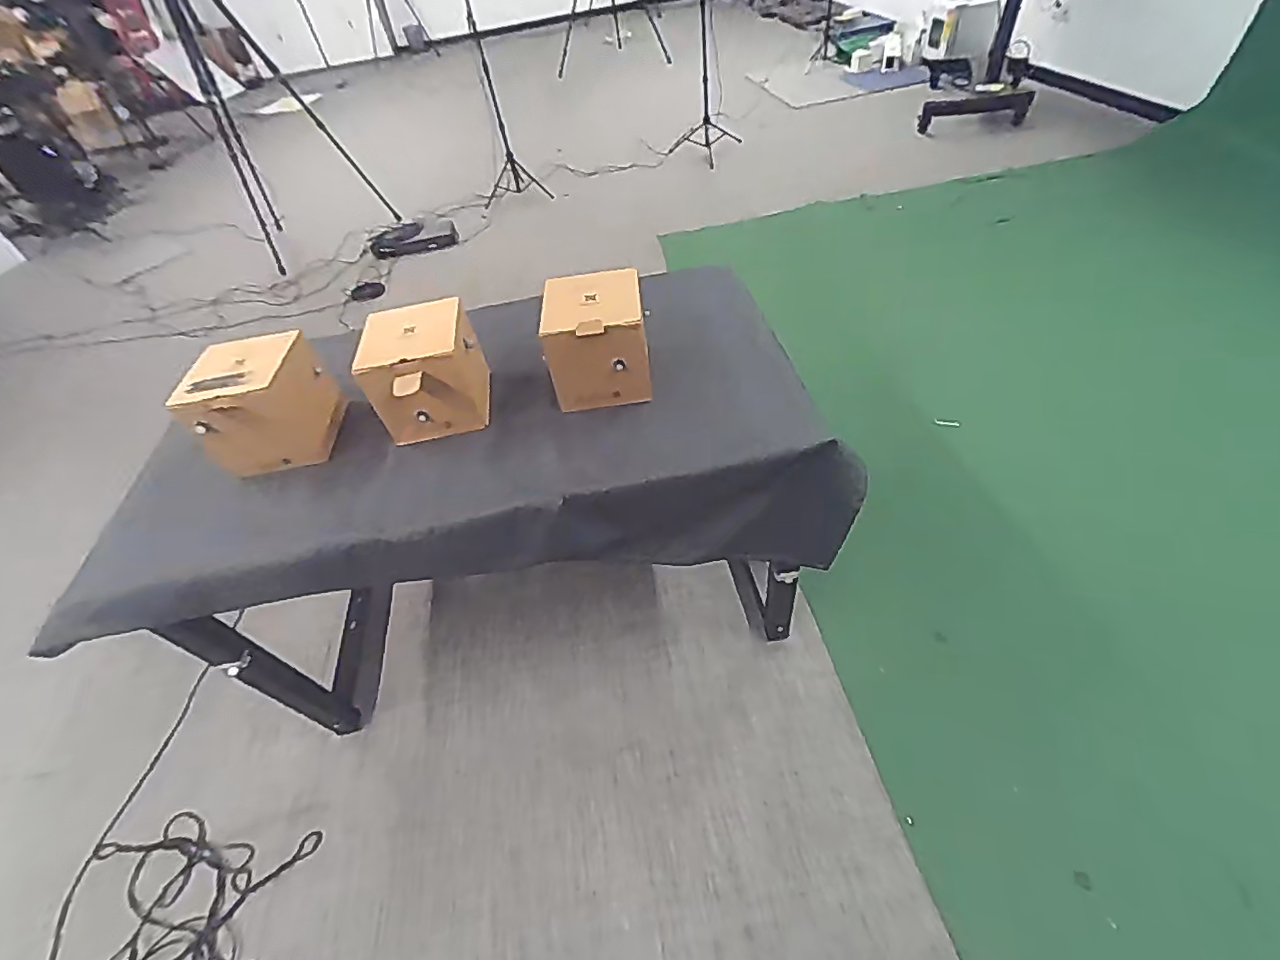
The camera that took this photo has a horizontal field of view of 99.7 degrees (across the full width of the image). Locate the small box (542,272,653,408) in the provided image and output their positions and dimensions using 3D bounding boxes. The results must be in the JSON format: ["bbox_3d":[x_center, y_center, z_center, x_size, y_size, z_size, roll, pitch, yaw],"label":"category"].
[{"bbox_3d":[-0.070,-0.241,0.961,0.168,0.176,0.179,-6,47,2],"label":"small box"}]

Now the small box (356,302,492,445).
[{"bbox_3d":[-0.371,-0.189,0.966,0.168,0.176,0.179,-12,48,-2],"label":"small box"}]
